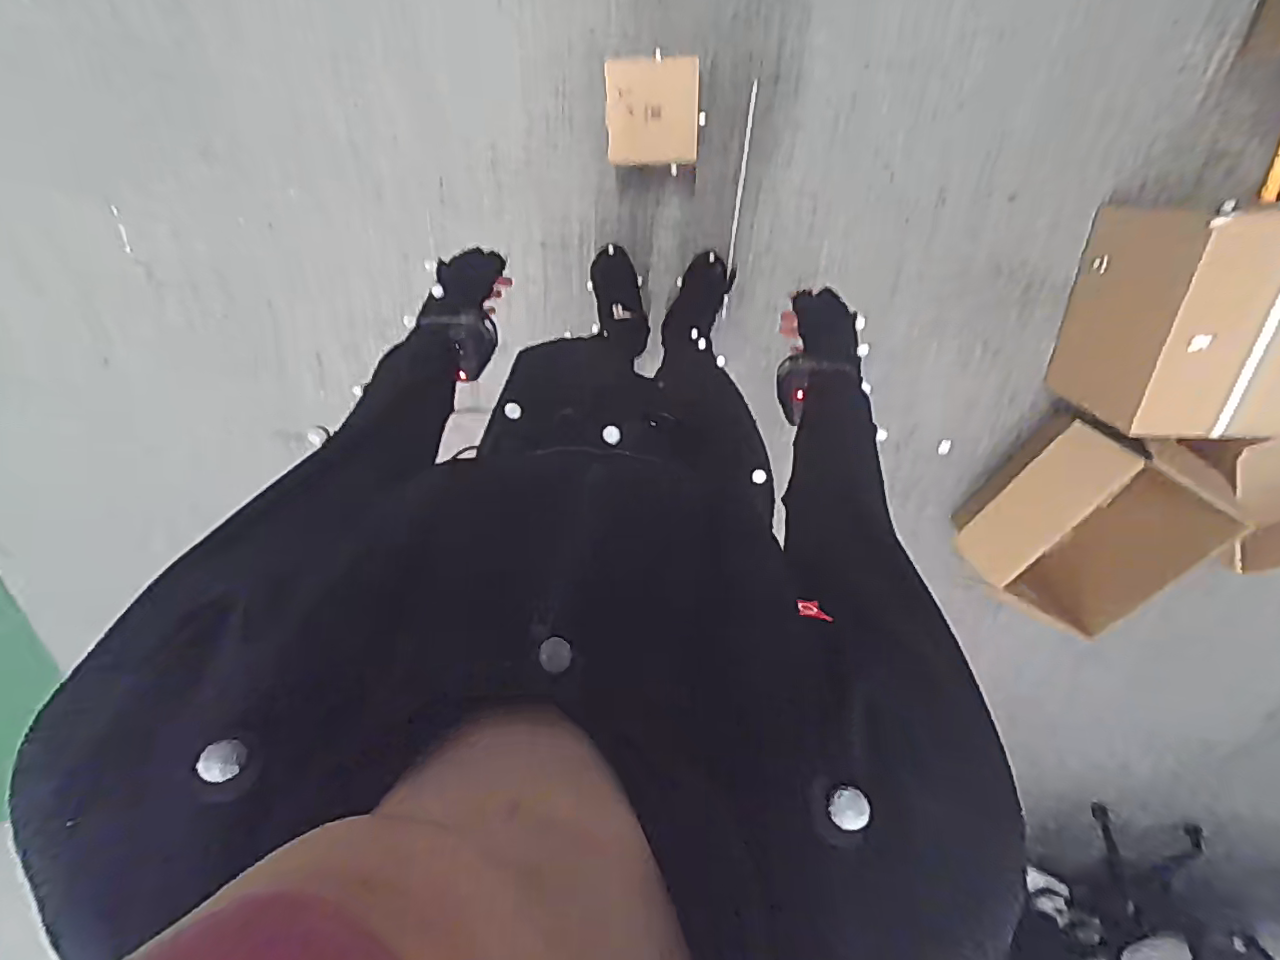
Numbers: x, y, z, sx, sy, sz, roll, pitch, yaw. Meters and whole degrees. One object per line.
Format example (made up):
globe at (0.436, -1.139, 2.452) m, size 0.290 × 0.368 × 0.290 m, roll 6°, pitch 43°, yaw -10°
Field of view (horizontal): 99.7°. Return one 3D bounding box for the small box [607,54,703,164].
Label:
small box at (0.032, -0.729, 1.075) m, size 0.179 × 0.176 × 0.168 m, roll 2°, pitch 119°, yaw 4°
